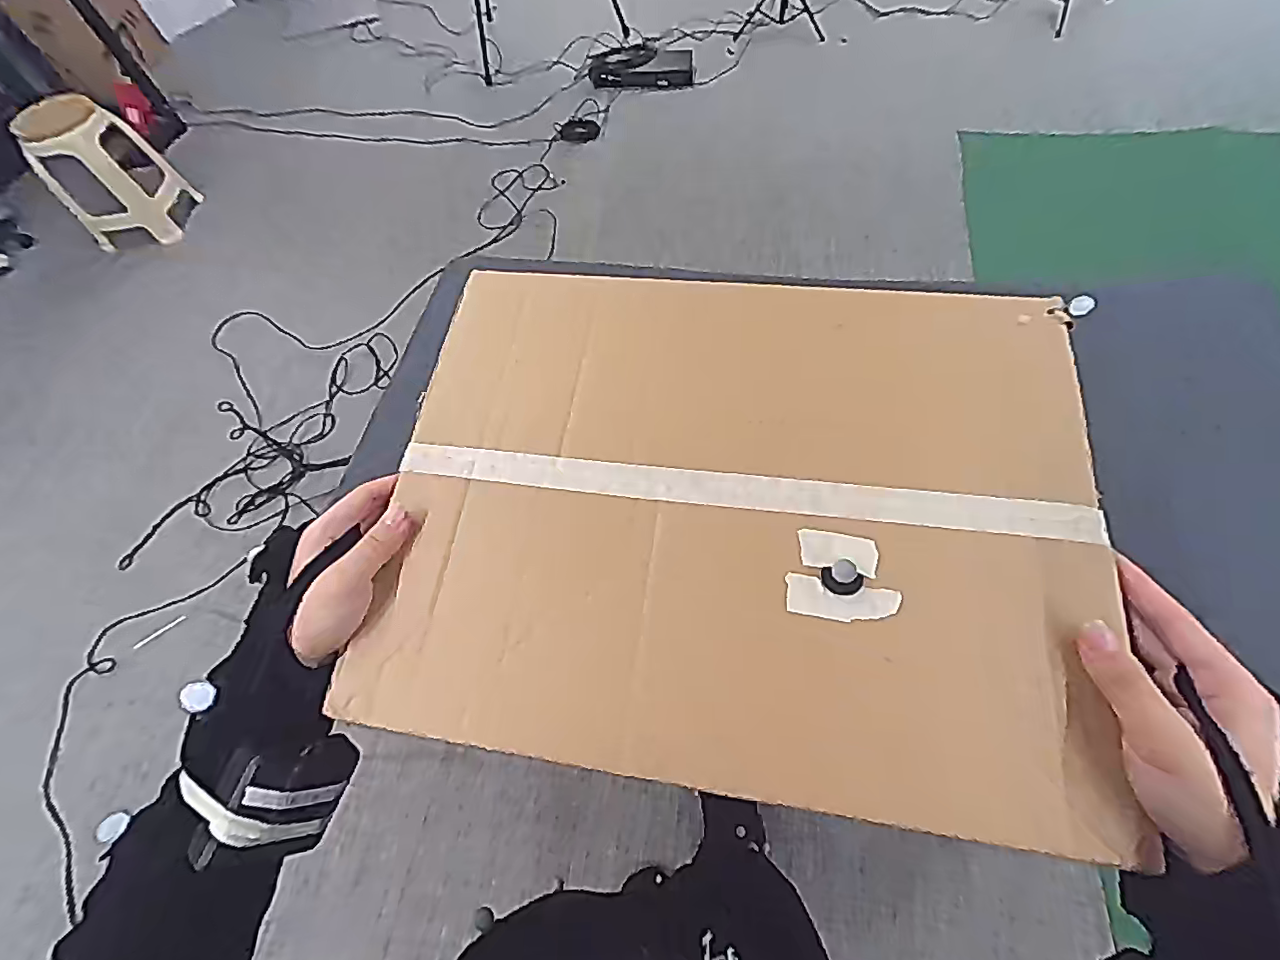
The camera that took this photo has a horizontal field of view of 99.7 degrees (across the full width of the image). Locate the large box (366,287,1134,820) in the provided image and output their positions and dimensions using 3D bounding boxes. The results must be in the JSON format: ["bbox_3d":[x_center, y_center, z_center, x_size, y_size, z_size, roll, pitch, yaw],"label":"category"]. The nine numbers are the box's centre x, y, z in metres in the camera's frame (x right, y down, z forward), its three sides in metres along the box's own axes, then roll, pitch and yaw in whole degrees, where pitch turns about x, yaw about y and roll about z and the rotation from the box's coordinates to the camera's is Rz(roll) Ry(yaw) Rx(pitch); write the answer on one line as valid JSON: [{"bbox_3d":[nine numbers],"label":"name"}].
[{"bbox_3d":[0.069,0.065,0.472,0.408,0.320,0.320,6,68,7],"label":"large box"}]
